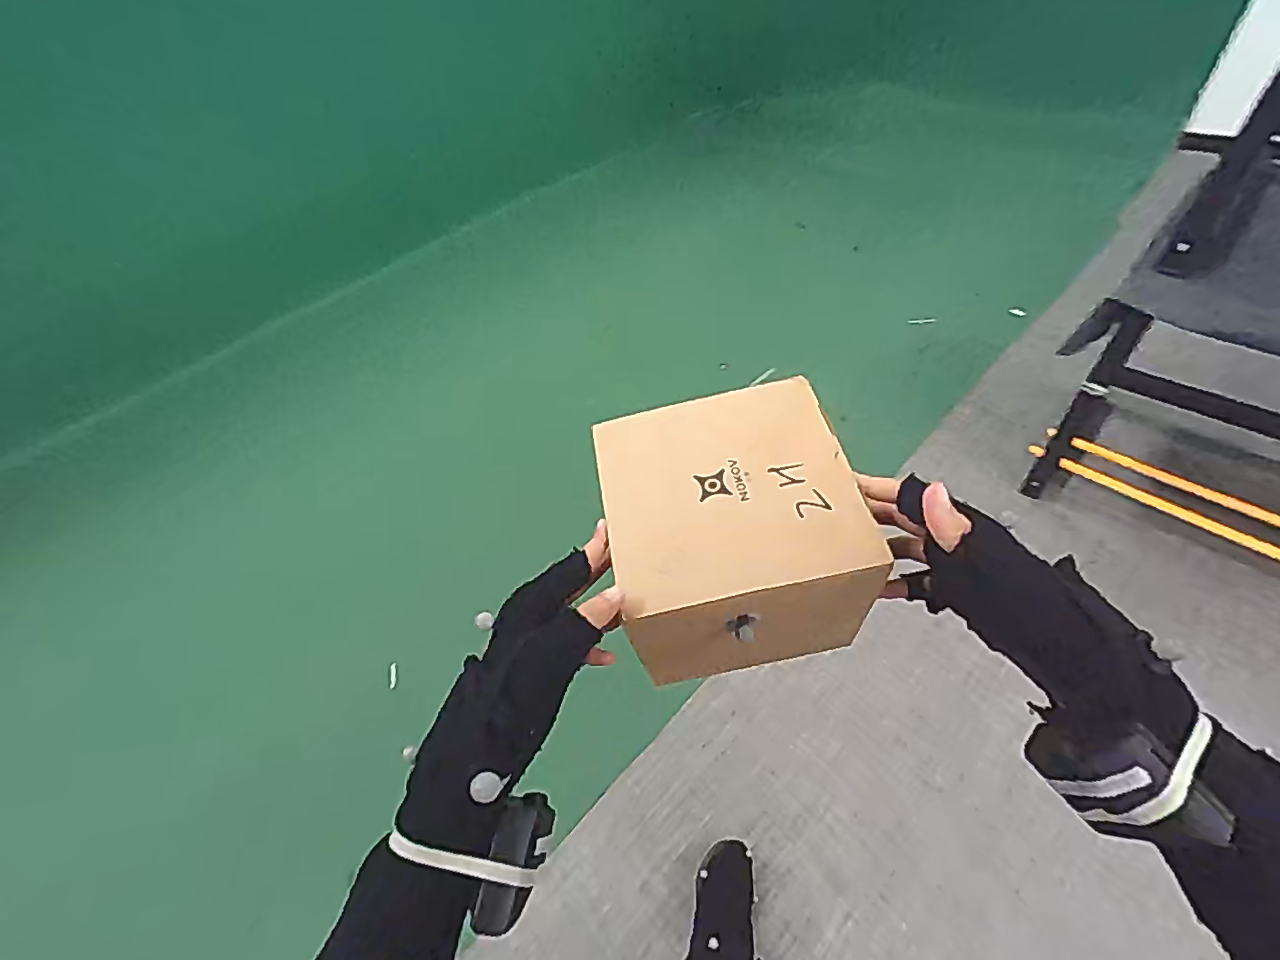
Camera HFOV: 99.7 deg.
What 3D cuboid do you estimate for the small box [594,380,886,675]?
[{"bbox_3d":[0.071,0.049,0.448,0.179,0.176,0.168,-12,56,2],"label":"small box"}]
